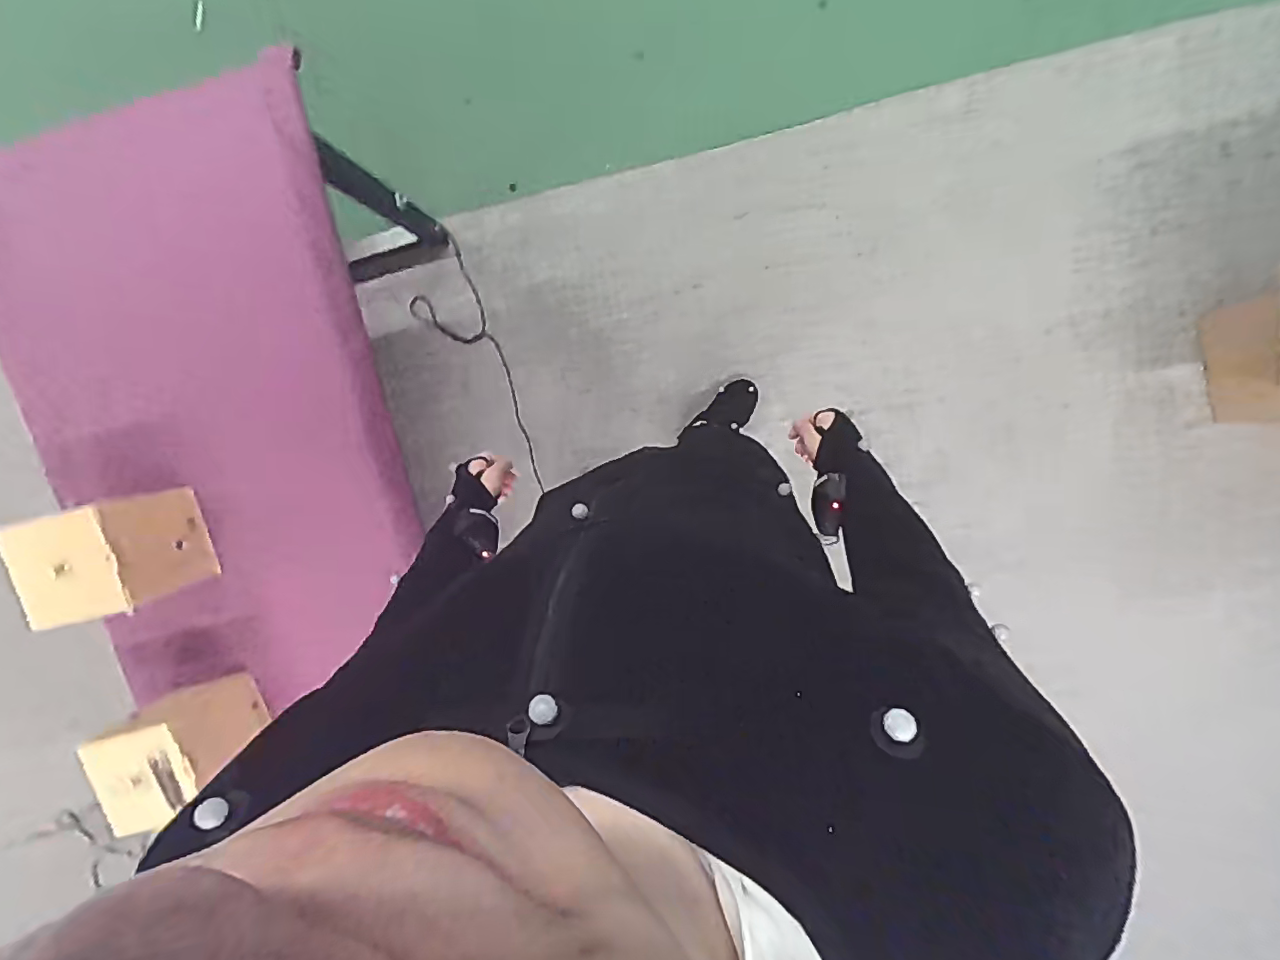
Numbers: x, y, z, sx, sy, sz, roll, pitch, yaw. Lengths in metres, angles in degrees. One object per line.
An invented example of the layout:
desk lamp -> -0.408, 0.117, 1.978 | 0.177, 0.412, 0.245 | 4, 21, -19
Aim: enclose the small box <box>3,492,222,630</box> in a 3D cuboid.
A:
small box -> -0.862, 0.127, 0.901 | 0.179, 0.176, 0.168 | -14, 97, 6
